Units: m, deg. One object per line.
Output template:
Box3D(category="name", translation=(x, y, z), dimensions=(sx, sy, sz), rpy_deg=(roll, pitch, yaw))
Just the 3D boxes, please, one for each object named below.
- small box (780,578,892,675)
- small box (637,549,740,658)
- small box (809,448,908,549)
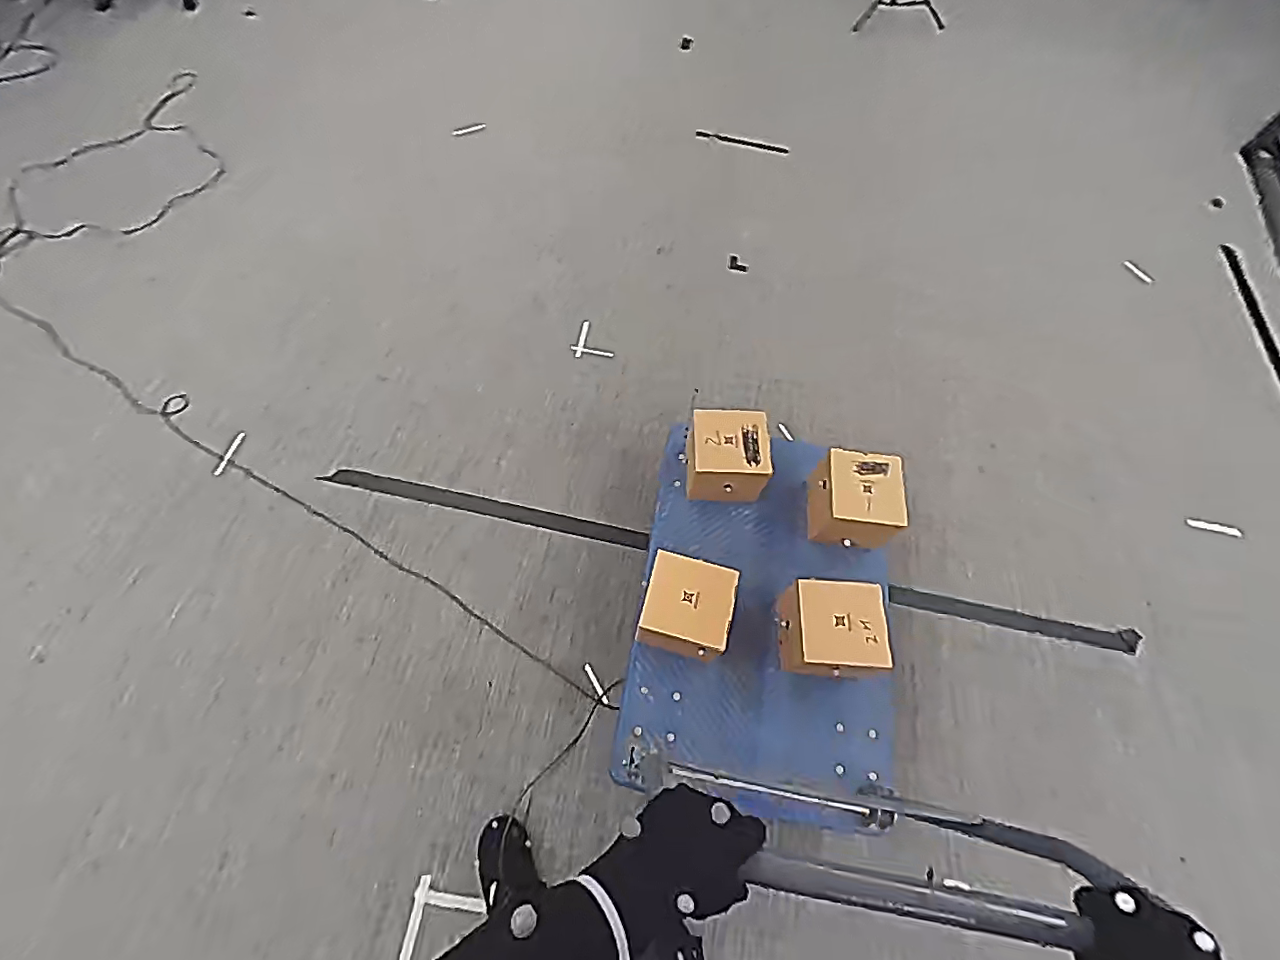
Box3D(category="small box", translation=(0.401, 0.315, 1.142), dimensions=(0.179, 0.176, 0.168), rpy_deg=(5, 65, -1))
Box3D(category="small box", translation=(0.096, 0.269, 1.150), dimensions=(0.179, 0.176, 0.168), rpy_deg=(15, 64, 3))
Box3D(category="small box", translation=(0.506, 0.046, 1.274), dimensions=(0.168, 0.176, 0.179), rpy_deg=(7, 66, 1))
